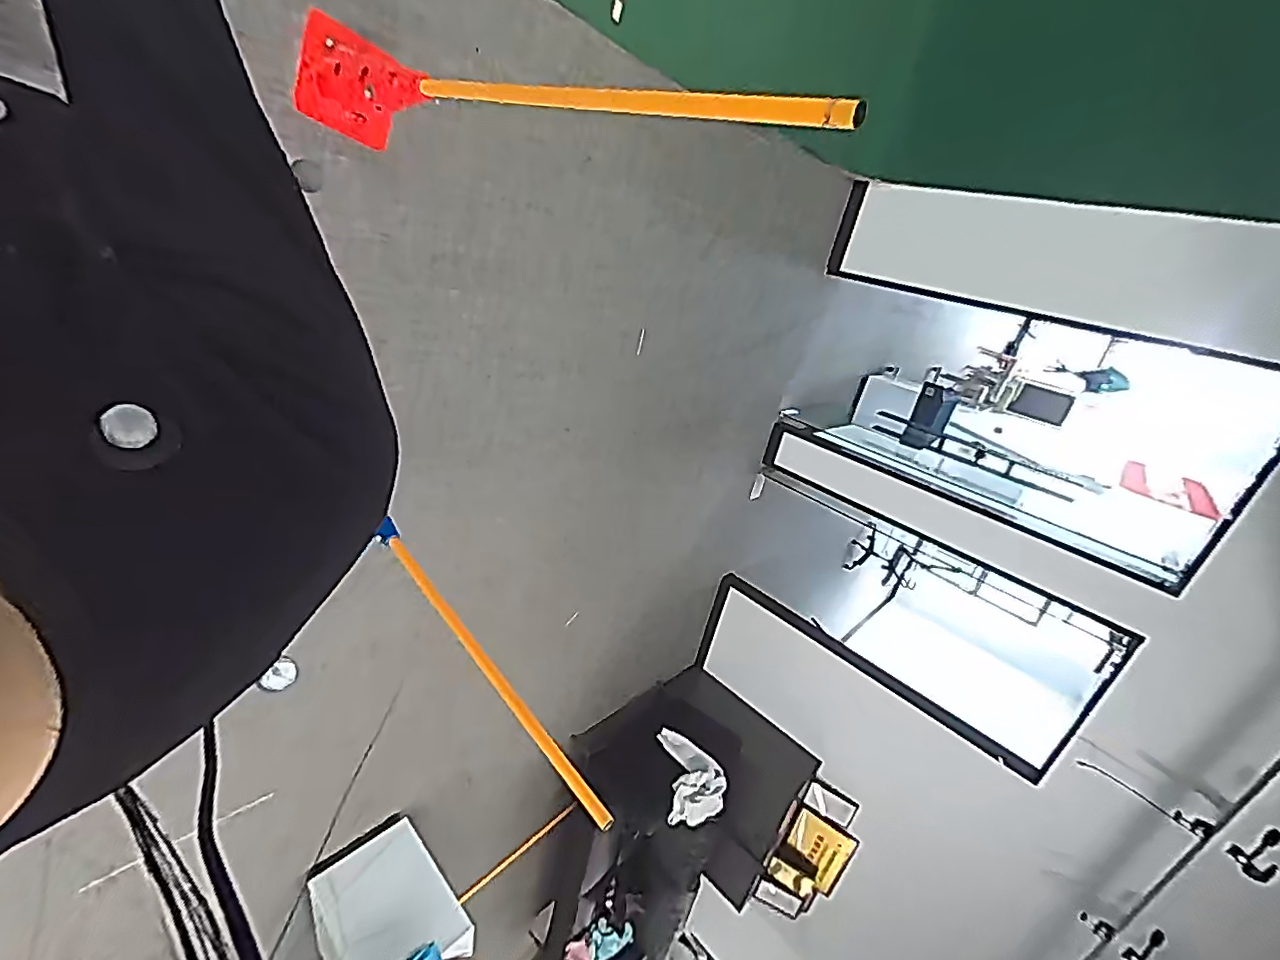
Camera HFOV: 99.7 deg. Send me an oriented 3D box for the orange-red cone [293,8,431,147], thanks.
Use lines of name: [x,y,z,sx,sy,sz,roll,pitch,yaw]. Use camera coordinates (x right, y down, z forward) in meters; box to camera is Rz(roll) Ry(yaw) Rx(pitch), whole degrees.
orange-red cone: [-0.522,-0.804,1.095,0.198,0.360,0.199,4,113,-52]
